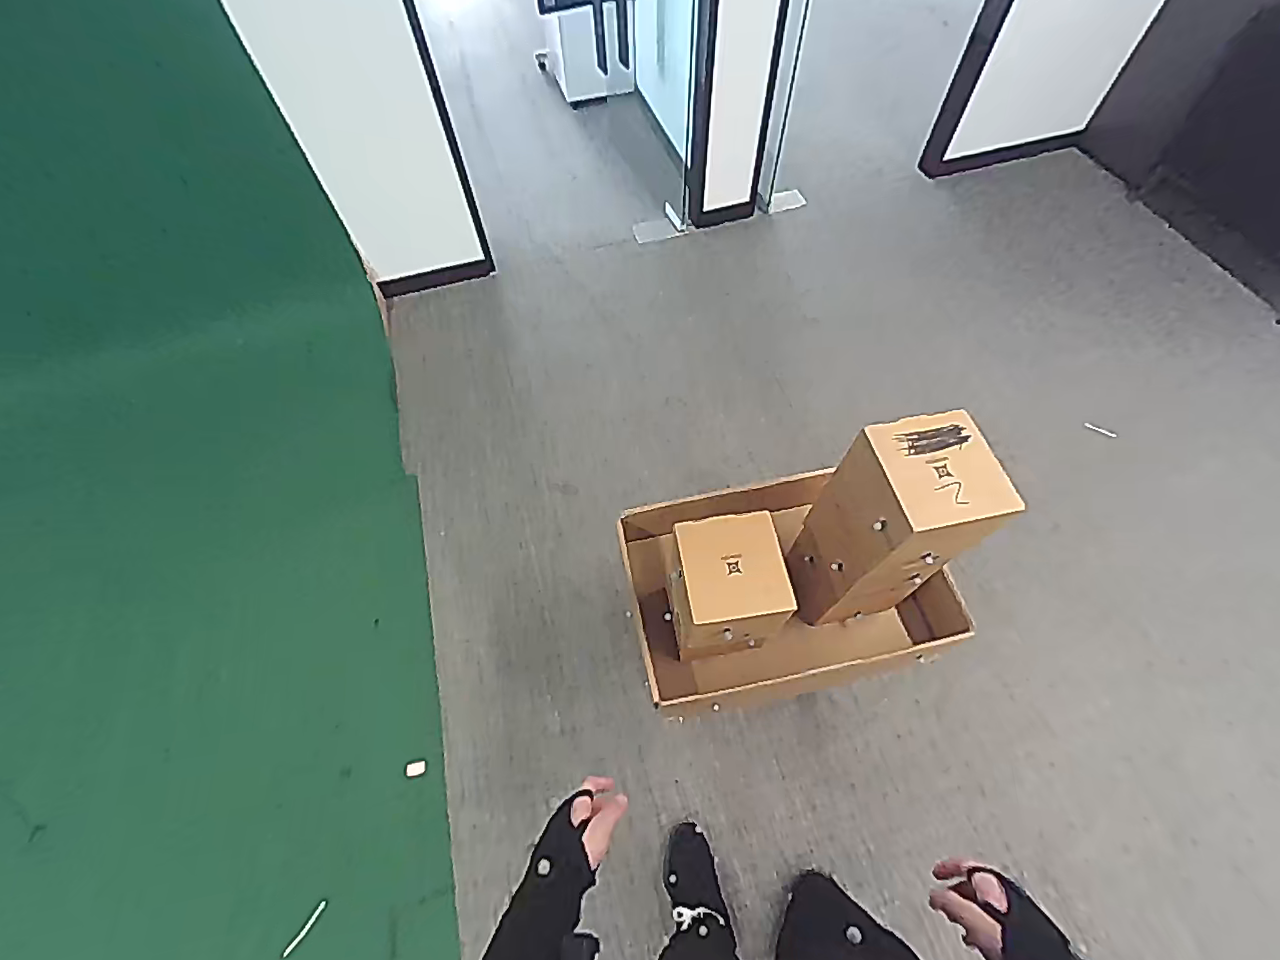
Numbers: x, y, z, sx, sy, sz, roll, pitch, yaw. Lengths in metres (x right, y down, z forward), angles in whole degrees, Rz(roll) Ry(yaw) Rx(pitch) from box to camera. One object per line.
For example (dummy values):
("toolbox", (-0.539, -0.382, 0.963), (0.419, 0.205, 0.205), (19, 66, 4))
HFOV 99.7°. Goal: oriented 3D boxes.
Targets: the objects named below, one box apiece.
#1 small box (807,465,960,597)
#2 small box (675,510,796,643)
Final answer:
("small box", (0.422, 0.099, 0.970), (0.168, 0.176, 0.179), (-10, 60, -5))
("small box", (0.154, 0.174, 0.937), (0.168, 0.176, 0.179), (-8, 60, -3))
